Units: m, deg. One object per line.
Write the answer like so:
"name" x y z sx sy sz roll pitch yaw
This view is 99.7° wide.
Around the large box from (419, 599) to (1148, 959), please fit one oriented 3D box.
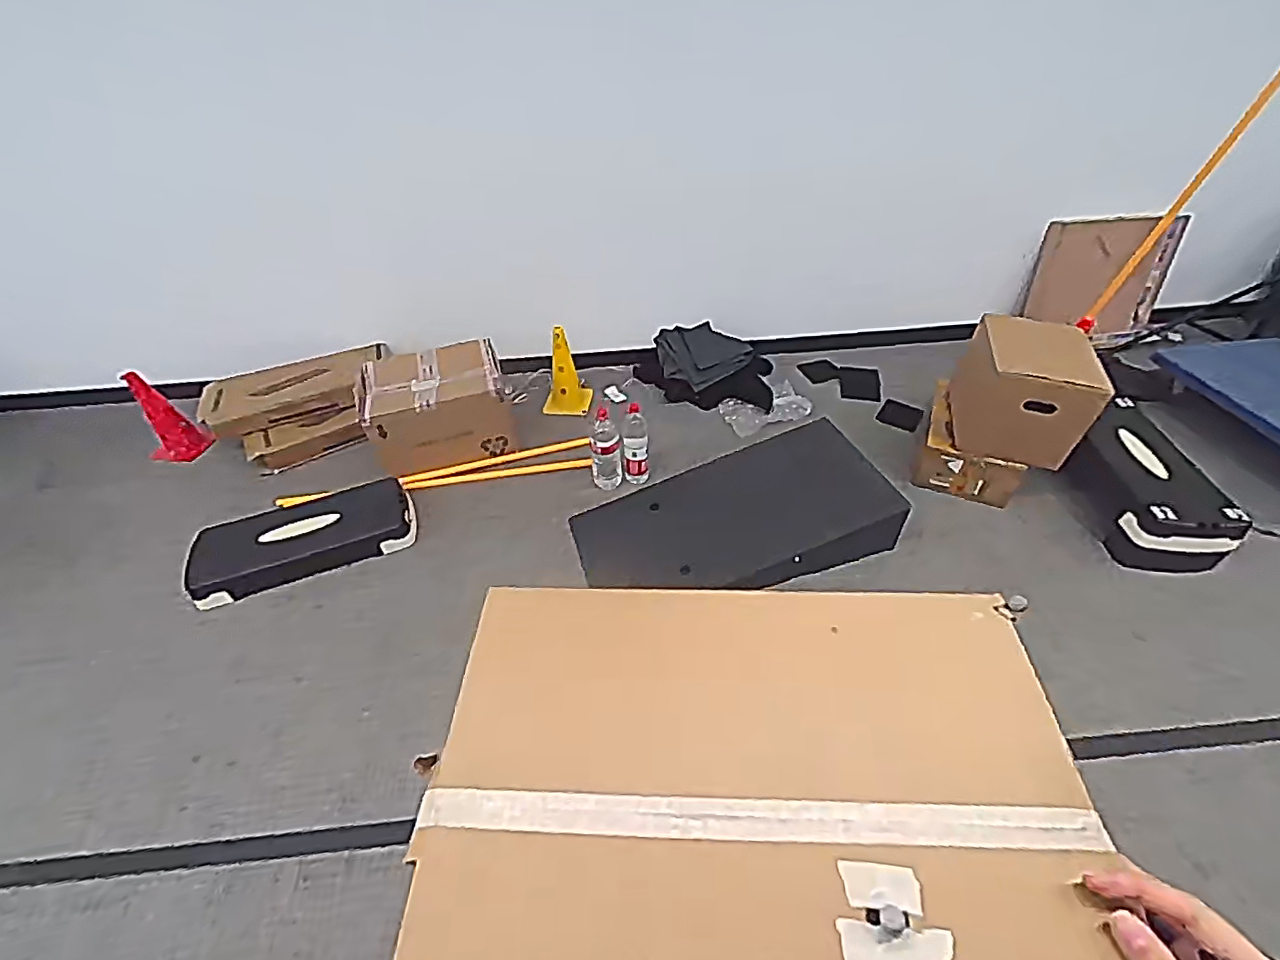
"large box" 0.080 0.310 0.450 0.408 0.320 0.320 0 50 3
